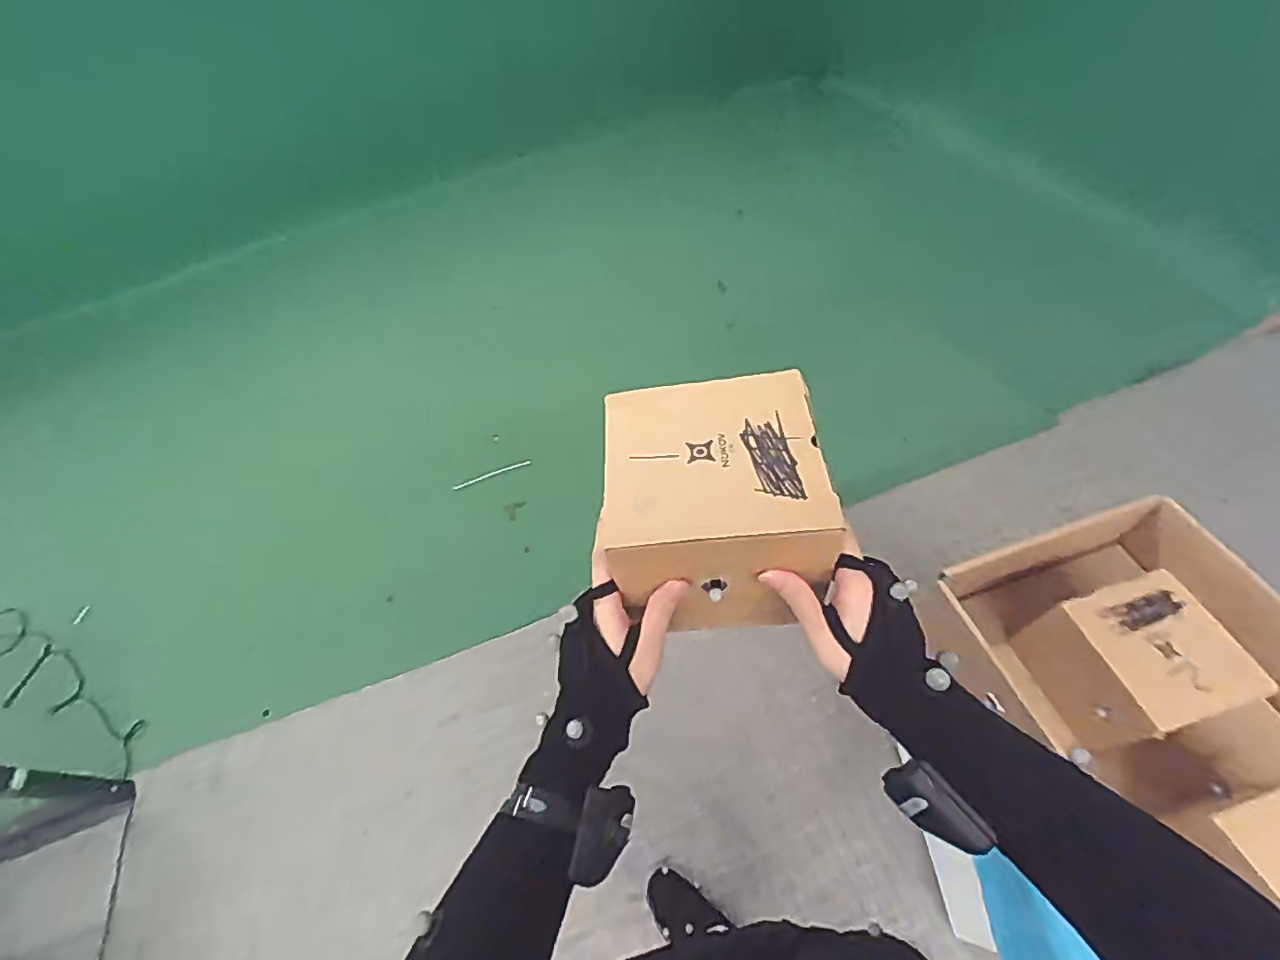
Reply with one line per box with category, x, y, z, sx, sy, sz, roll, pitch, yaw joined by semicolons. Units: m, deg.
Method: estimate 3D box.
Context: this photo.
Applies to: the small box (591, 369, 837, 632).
small box;0.061;0.025;0.490;0.179;0.176;0.168;-7;52;6
